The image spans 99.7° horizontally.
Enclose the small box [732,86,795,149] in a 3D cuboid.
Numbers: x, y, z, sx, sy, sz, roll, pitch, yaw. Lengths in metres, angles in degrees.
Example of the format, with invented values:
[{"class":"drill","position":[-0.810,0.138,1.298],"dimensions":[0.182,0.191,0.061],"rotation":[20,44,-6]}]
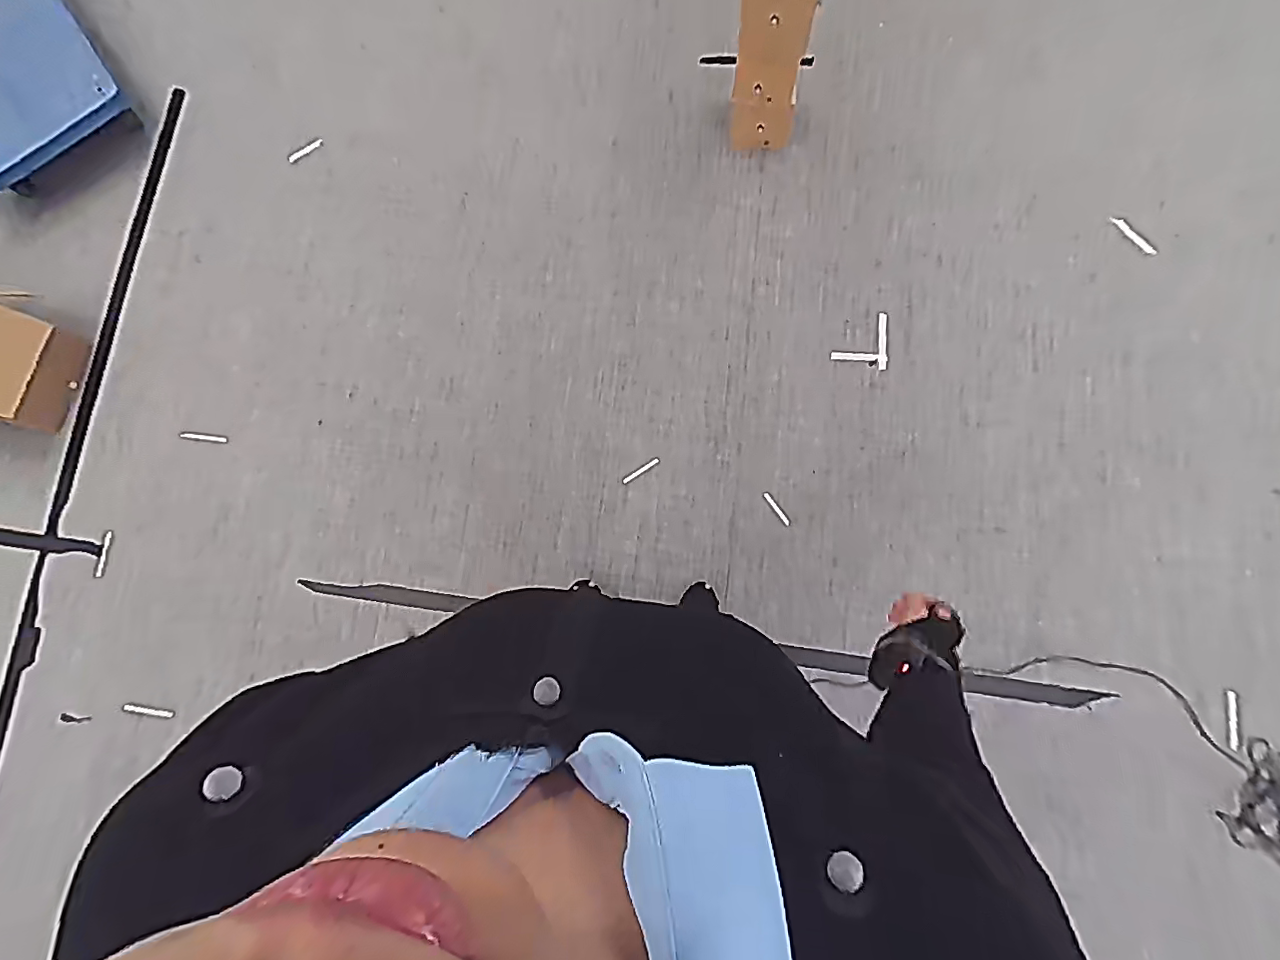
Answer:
[{"class":"small box","position":[0.373,-1.139,1.639],"dimensions":[0.168,0.176,0.179],"rotation":[4,80,4]}]

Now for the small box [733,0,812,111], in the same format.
[{"class":"small box","position":[0.355,-1.162,1.478],"dimensions":[0.168,0.176,0.179],"rotation":[11,82,6]}]
